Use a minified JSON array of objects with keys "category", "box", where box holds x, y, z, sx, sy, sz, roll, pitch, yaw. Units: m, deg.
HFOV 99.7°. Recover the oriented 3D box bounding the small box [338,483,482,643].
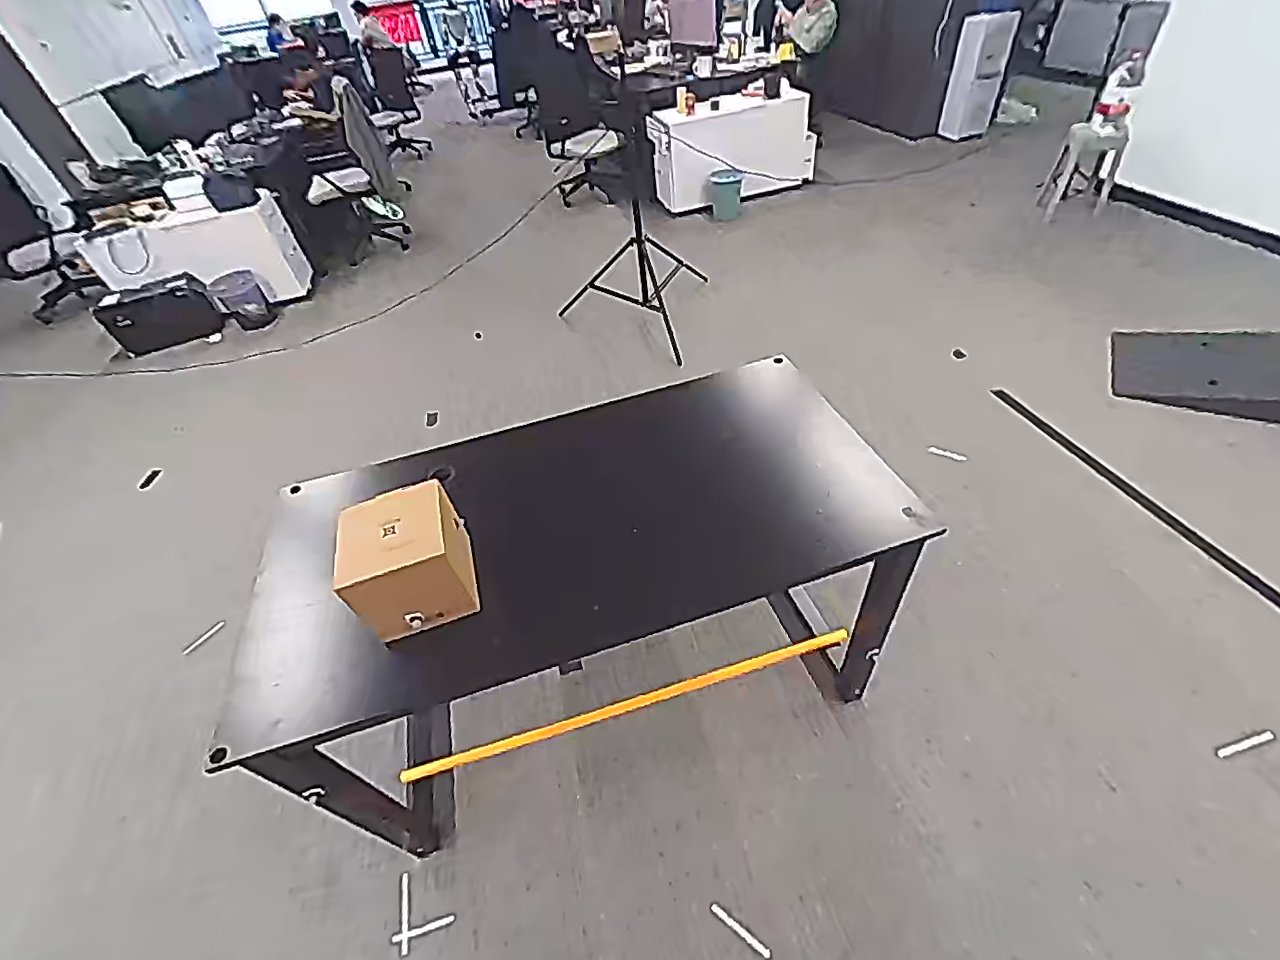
[{"category":"small box","box":[-0.382,0.140,0.915,0.168,0.176,0.179,-19,46,-9]}]
